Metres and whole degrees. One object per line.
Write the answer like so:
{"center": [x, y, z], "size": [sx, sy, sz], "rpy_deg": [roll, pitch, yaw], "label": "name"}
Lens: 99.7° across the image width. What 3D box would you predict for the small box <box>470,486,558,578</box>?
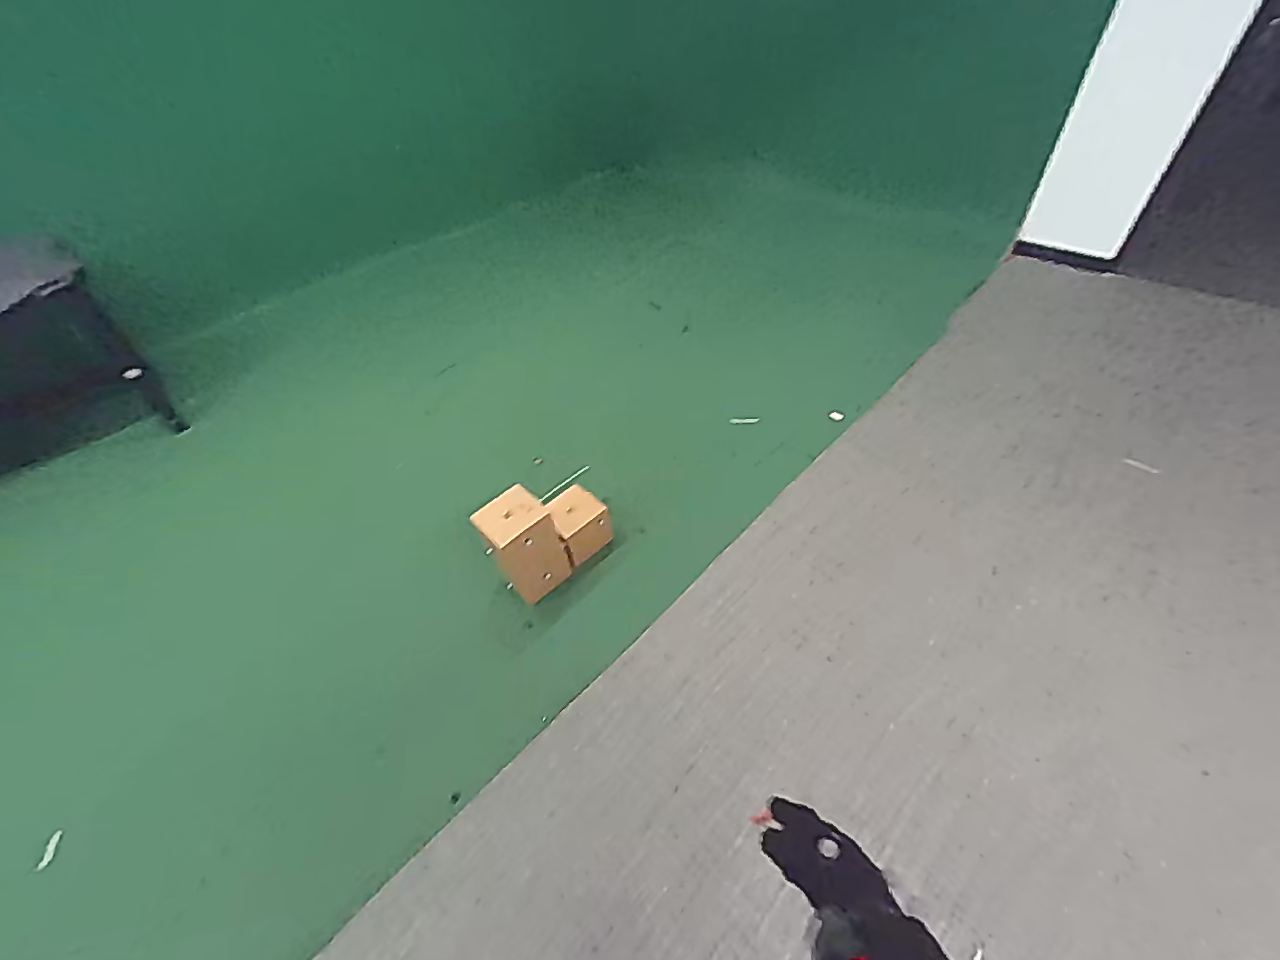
{"center": [-0.367, 0.158, 1.602], "size": [0.179, 0.176, 0.168], "rpy_deg": [-37, 54, -25], "label": "small box"}
